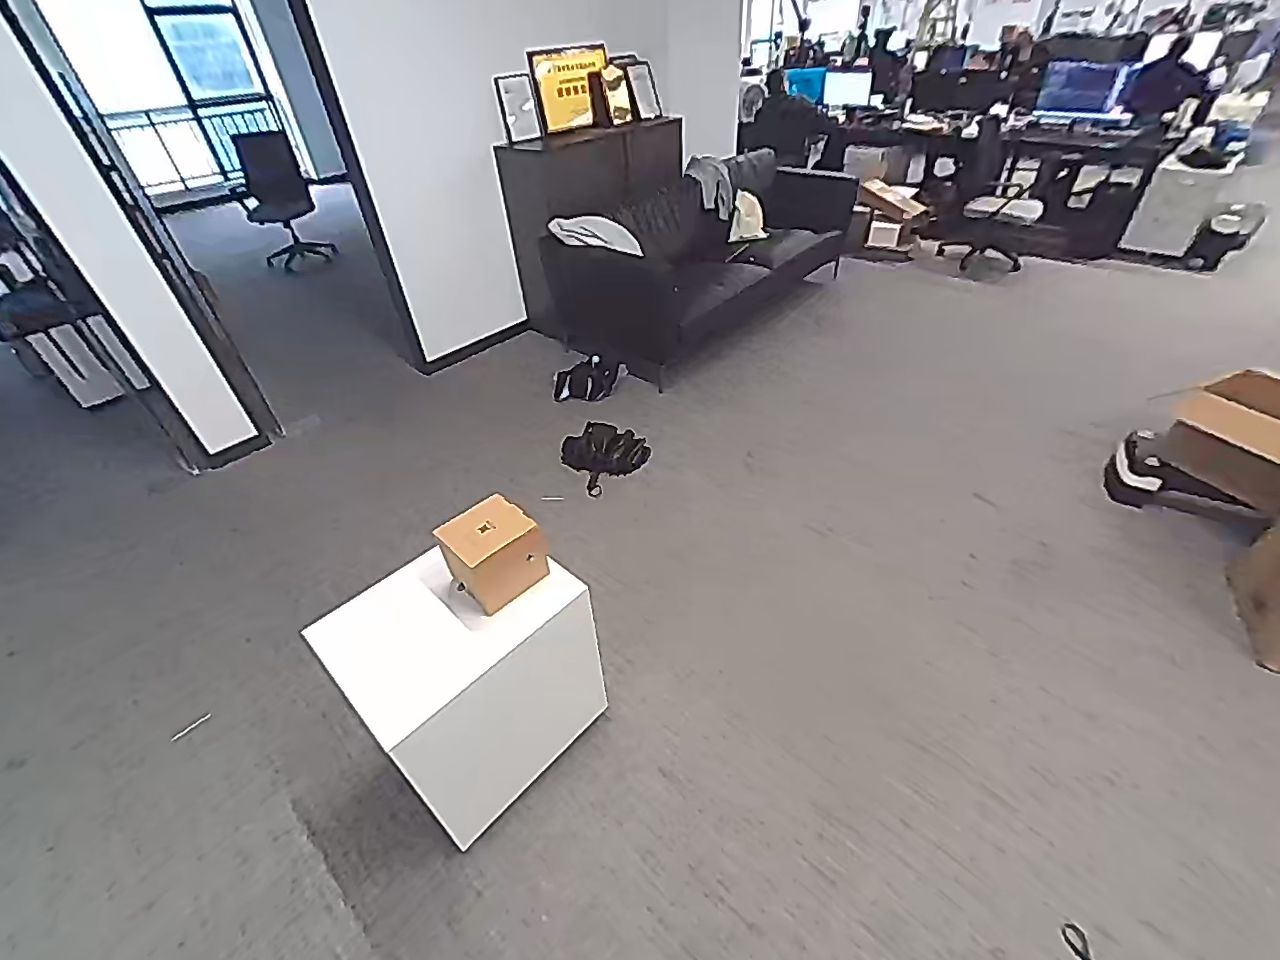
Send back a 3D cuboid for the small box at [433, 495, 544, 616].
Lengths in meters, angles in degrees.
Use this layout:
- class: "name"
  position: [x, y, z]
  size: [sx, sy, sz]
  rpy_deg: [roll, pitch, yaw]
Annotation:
- class: "small box"
  position: [-0.336, 0.172, 1.239]
  size: [0.168, 0.176, 0.179]
  rpy_deg: [29, 51, 35]
